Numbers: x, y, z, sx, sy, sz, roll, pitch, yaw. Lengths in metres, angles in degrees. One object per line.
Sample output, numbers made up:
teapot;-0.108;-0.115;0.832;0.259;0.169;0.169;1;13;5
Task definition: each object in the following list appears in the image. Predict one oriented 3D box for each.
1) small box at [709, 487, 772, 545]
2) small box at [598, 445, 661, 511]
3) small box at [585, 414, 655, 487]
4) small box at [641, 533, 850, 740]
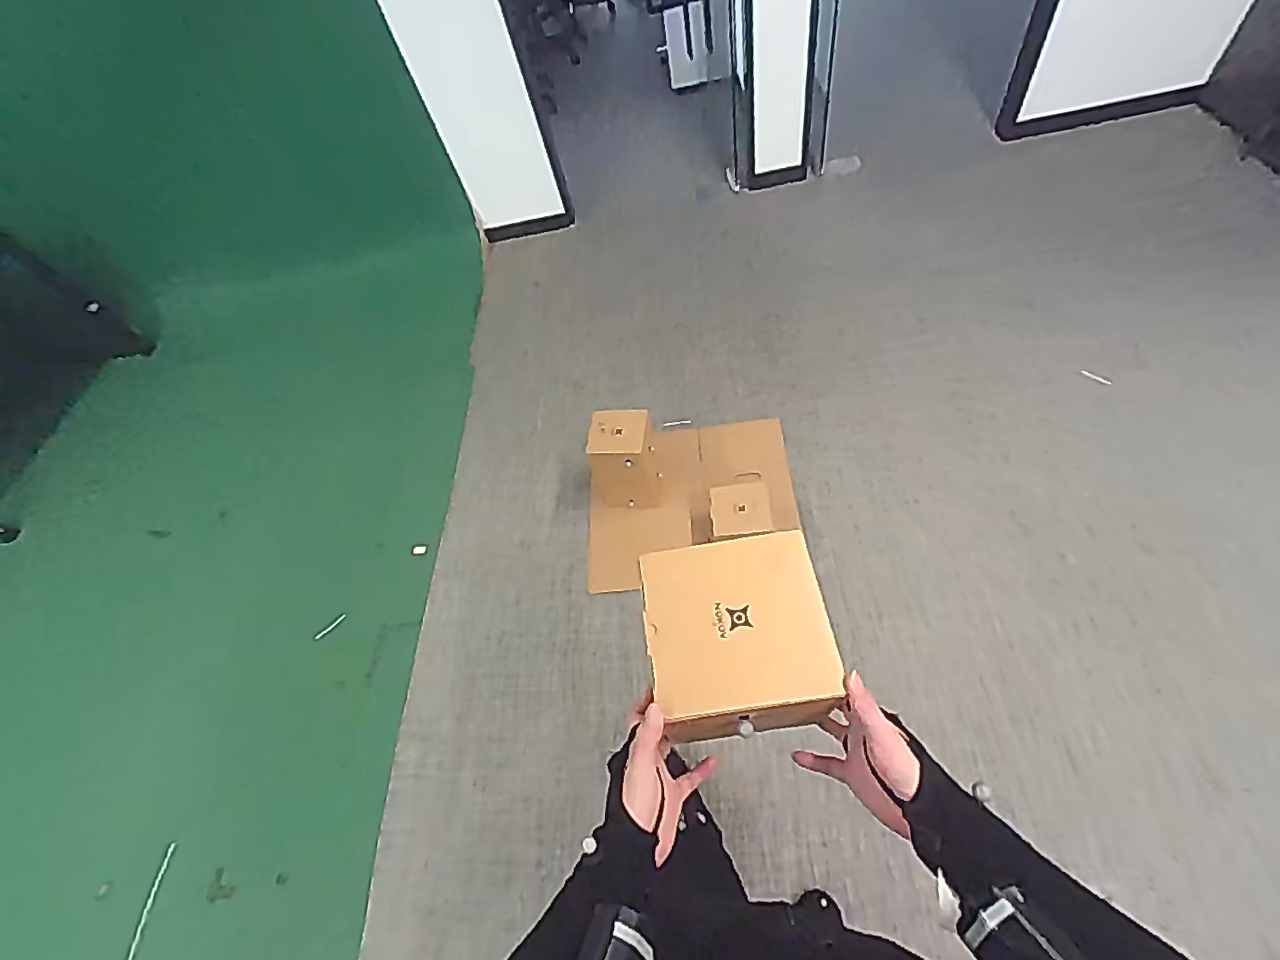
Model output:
small box;0.310;0.141;1.659;0.179;0.176;0.168;-6;57;9
small box;-0.028;-0.006;1.827;0.179;0.176;0.168;1;57;12
small box;-0.055;-0.090;1.686;0.179;0.176;0.168;0;57;13
small box;0.104;0.178;0.591;0.179;0.176;0.168;-10;57;4
